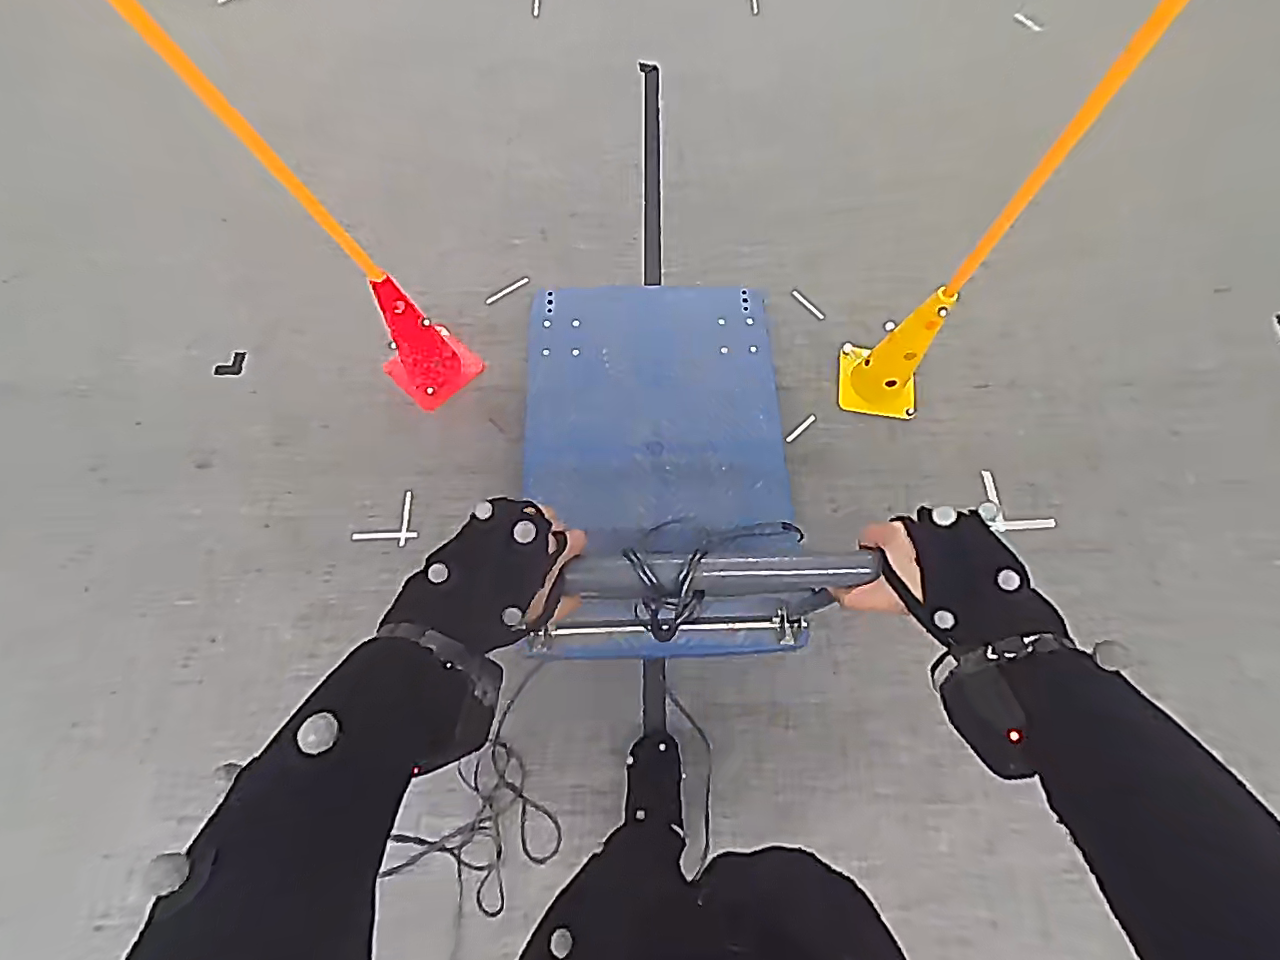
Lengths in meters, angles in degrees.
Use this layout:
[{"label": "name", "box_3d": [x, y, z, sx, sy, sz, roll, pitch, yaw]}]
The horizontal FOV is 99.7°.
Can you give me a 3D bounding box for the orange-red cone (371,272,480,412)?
[{"label": "orange-red cone", "box_3d": [-0.544, -0.354, 1.276, 0.198, 0.360, 0.199, 44, 73, 12]}]
